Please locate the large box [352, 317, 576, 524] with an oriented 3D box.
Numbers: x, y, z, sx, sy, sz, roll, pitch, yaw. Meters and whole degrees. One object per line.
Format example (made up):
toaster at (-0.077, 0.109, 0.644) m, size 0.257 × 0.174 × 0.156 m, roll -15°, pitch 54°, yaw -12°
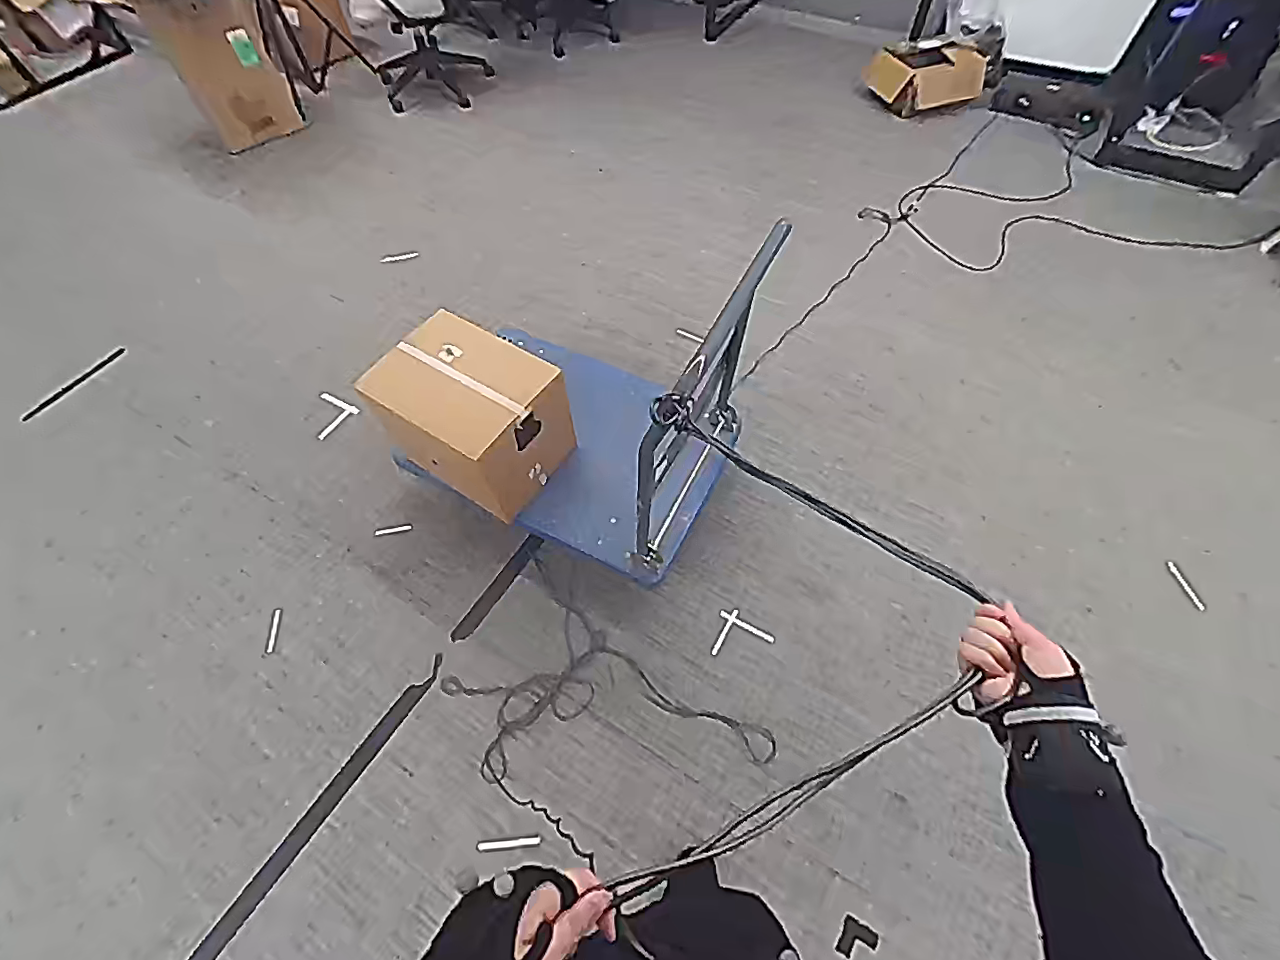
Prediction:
large box at (-0.430, -0.151, 1.410) m, size 0.408 × 0.320 × 0.320 m, roll 28°, pitch 63°, yaw 18°
